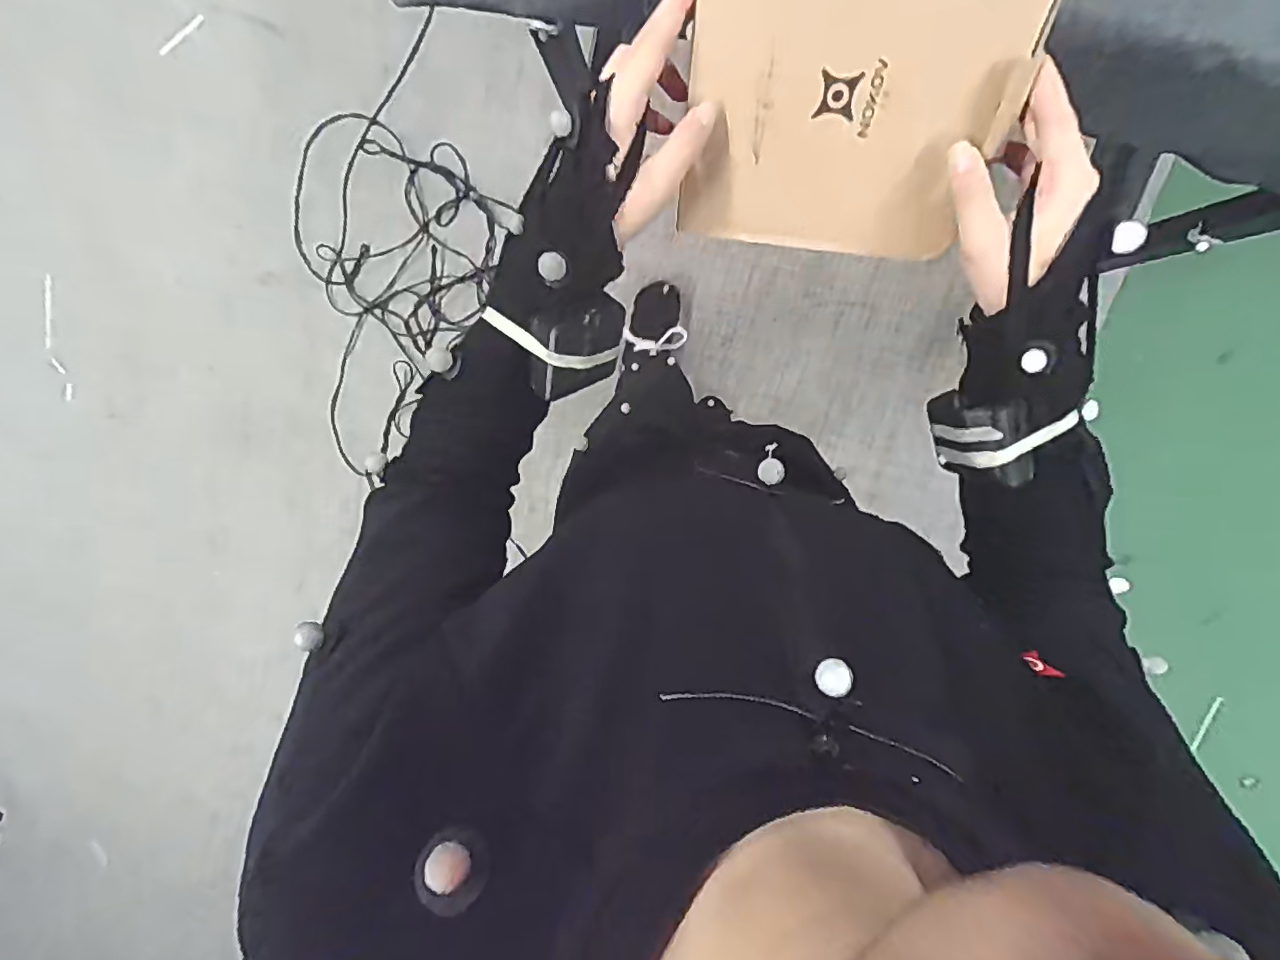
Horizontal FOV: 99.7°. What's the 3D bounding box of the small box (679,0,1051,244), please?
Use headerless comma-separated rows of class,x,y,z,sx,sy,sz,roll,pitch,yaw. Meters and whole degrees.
small box,0.127,-0.272,0.350,0.179,0.176,0.168,9,133,8
